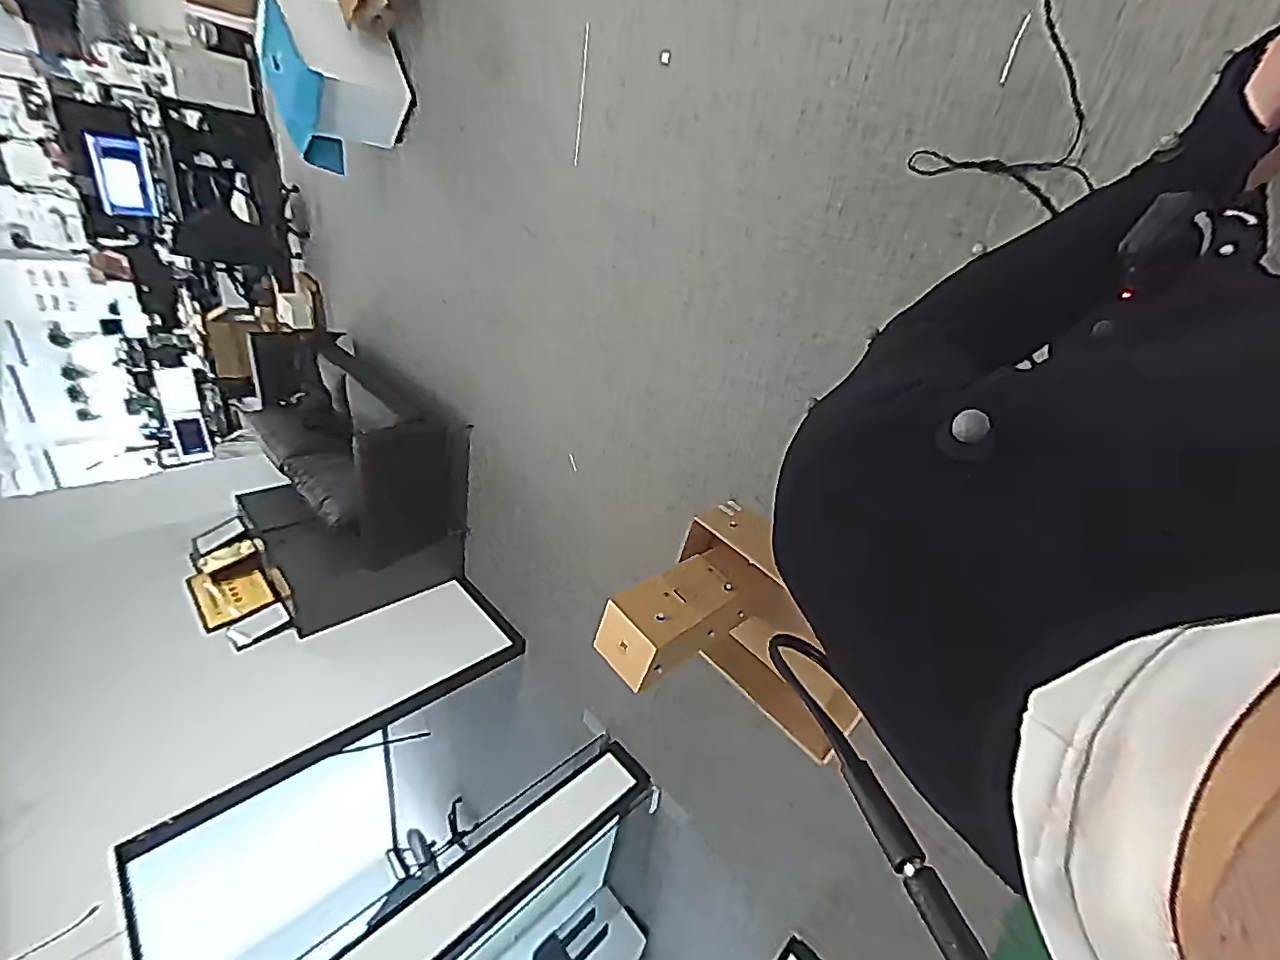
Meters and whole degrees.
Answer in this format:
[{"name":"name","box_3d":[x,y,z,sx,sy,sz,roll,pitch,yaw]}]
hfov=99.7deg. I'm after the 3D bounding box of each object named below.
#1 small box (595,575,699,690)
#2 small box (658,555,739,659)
[{"name":"small box","box_3d":[0.020,0.364,1.321,0.168,0.176,0.179,40,130,29]},{"name":"small box","box_3d":[0.136,0.328,1.429,0.168,0.176,0.179,40,130,30]}]
